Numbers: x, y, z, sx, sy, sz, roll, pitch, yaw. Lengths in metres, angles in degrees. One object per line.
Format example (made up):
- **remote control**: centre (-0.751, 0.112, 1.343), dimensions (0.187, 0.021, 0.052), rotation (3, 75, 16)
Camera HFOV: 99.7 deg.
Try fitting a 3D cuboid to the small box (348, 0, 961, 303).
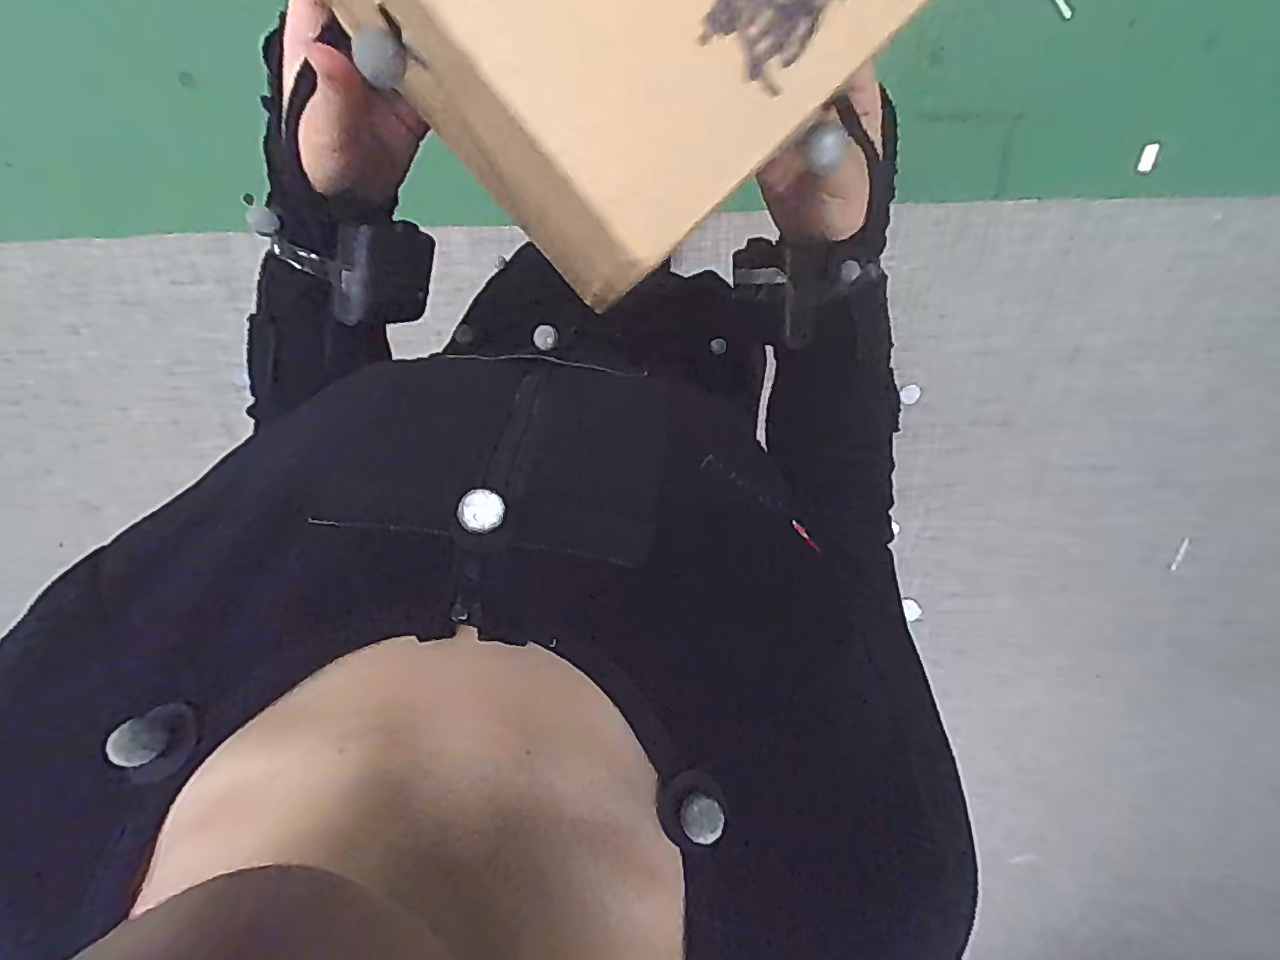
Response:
- **small box**: centre (-0.003, -0.185, 0.194), dimensions (0.168, 0.176, 0.179), rotation (-43, 105, 5)
